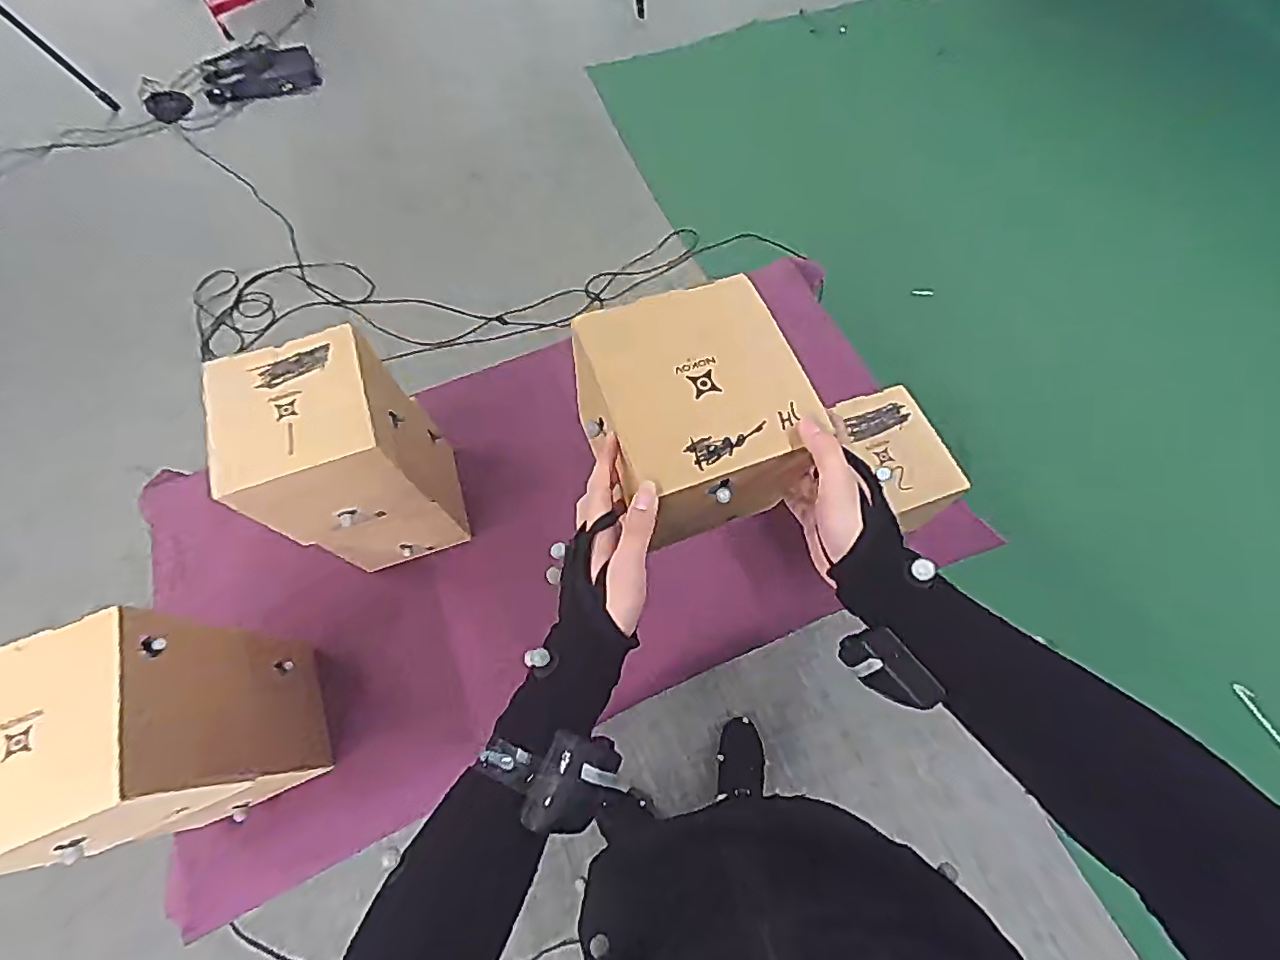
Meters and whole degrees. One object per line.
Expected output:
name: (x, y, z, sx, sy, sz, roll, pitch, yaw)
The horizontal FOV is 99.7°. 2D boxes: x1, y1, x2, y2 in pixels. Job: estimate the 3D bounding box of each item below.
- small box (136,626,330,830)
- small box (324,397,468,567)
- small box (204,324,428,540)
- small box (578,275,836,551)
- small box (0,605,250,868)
small box: (-0.523, 0.308, 0.675, 0.168, 0.176, 0.179, -22, 67, -9)
small box: (-0.373, 0.008, 0.806, 0.168, 0.176, 0.179, -17, 68, -7)
small box: (-0.378, -0.051, 0.653, 0.168, 0.176, 0.179, -19, 69, -8)
small box: (0.045, -0.055, 0.513, 0.168, 0.176, 0.179, -18, 70, -10)
small box: (-0.518, 0.246, 0.526, 0.168, 0.176, 0.179, -22, 66, -8)
